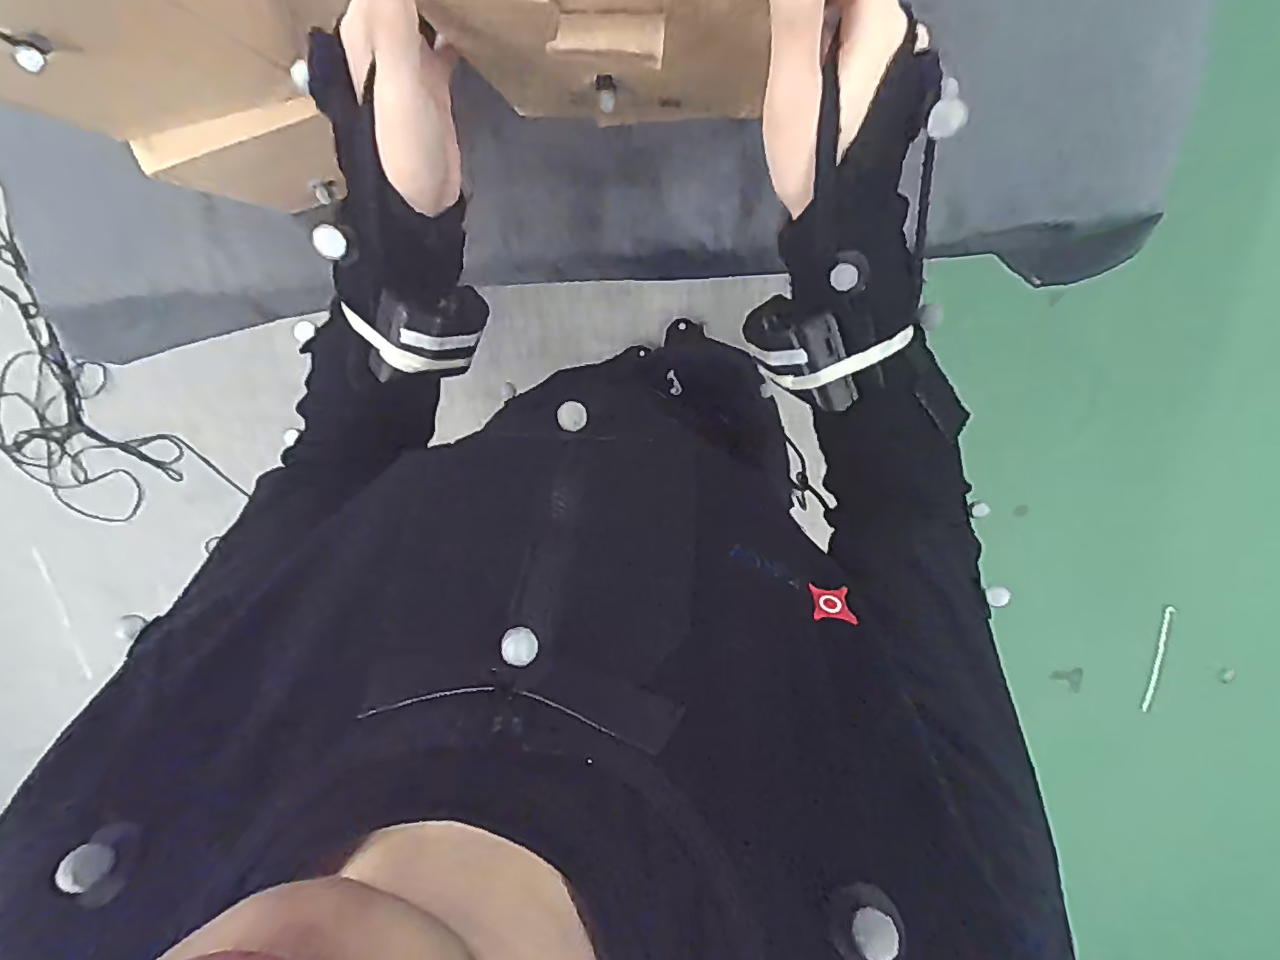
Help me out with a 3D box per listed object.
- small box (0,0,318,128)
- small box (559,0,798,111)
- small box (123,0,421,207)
[{"bbox_3d":[-0.334,-0.329,0.308,0.179,0.176,0.168,-7,107,7],"label":"small box"},{"bbox_3d":[0.030,-0.414,0.421,0.168,0.176,0.179,-2,107,6],"label":"small box"},{"bbox_3d":[-0.324,-0.363,0.468,0.168,0.176,0.179,-12,106,9],"label":"small box"}]
